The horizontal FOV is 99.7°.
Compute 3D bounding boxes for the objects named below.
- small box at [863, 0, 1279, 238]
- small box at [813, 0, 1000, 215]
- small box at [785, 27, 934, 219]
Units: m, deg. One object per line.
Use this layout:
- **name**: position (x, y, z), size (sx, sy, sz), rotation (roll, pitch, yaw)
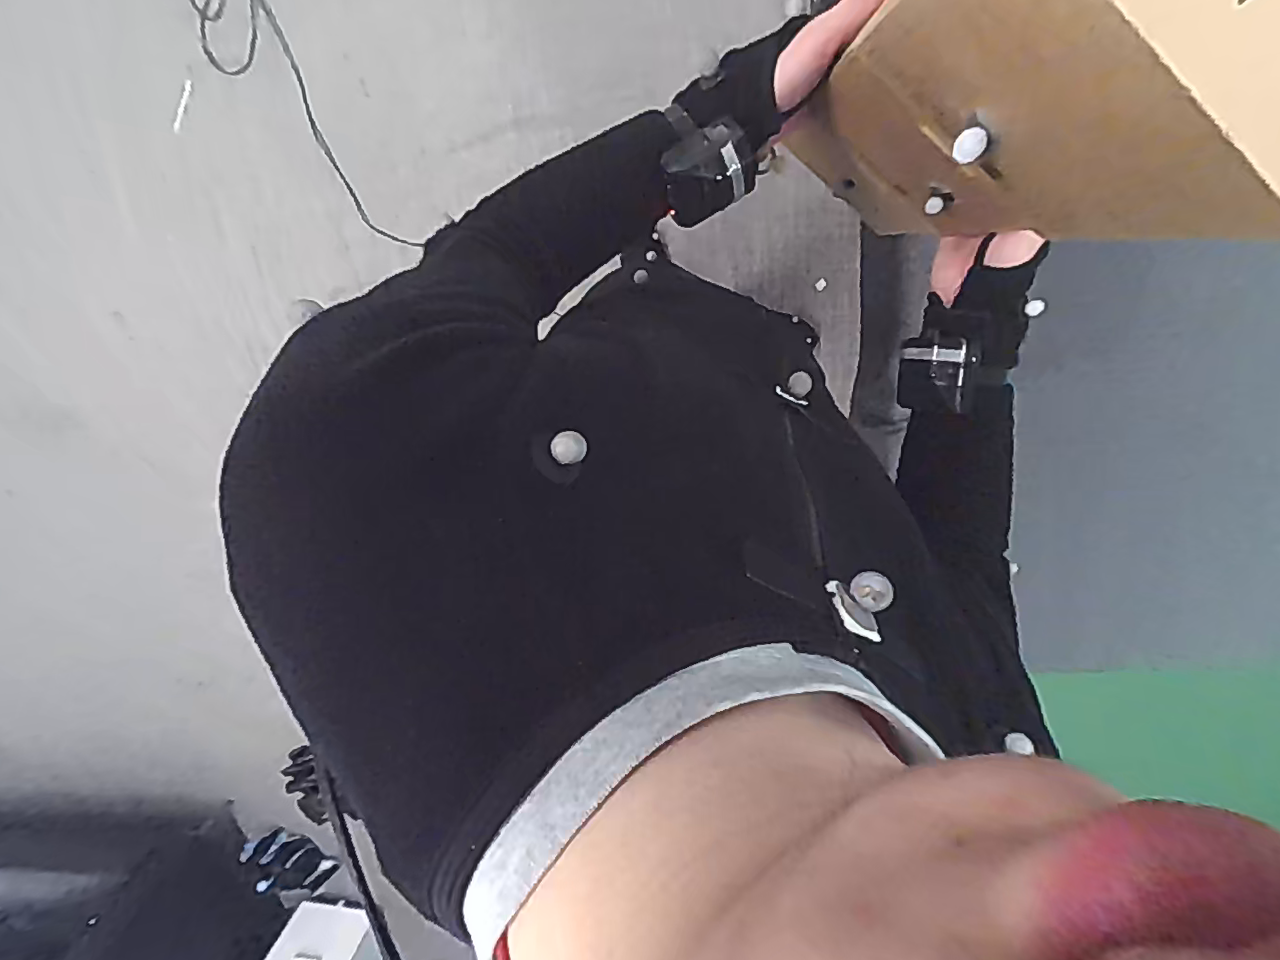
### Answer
- **small box**: position (0.222, -0.224, 0.209), size (0.168, 0.176, 0.179), rotation (36, 114, -11)
- **small box**: position (0.236, -0.299, 0.355), size (0.168, 0.176, 0.179), rotation (34, 113, -11)
- **small box**: position (0.253, -0.369, 0.501), size (0.168, 0.176, 0.179), rotation (36, 113, -11)
